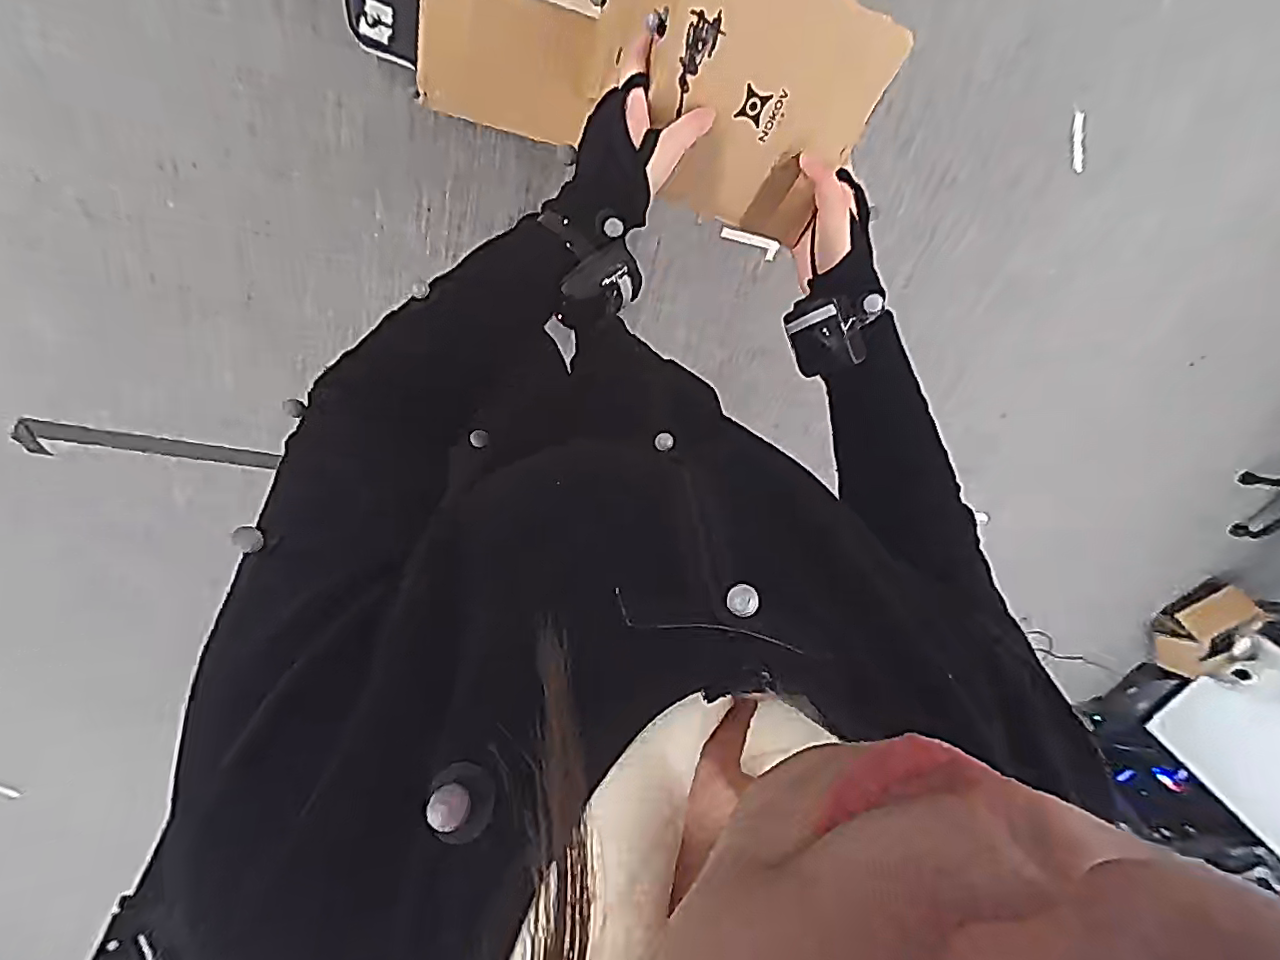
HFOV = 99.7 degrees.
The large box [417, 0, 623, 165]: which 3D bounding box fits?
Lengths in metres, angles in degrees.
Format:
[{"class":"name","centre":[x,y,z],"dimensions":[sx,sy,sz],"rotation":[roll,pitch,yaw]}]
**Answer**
[{"class":"large box","centre":[-0.084,-0.667,0.789],"dimensions":[0.408,0.320,0.320],"rotation":[7,121,-16]}]

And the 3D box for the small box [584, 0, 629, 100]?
[{"class":"small box","centre":[0.045,-0.509,0.624],"dimensions":[0.179,0.176,0.168],"rotation":[10,121,-19]}]

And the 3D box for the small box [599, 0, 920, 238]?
[{"class":"small box","centre":[0.080,-0.342,0.457],"dimensions":[0.179,0.176,0.168],"rotation":[9,132,-24]}]
